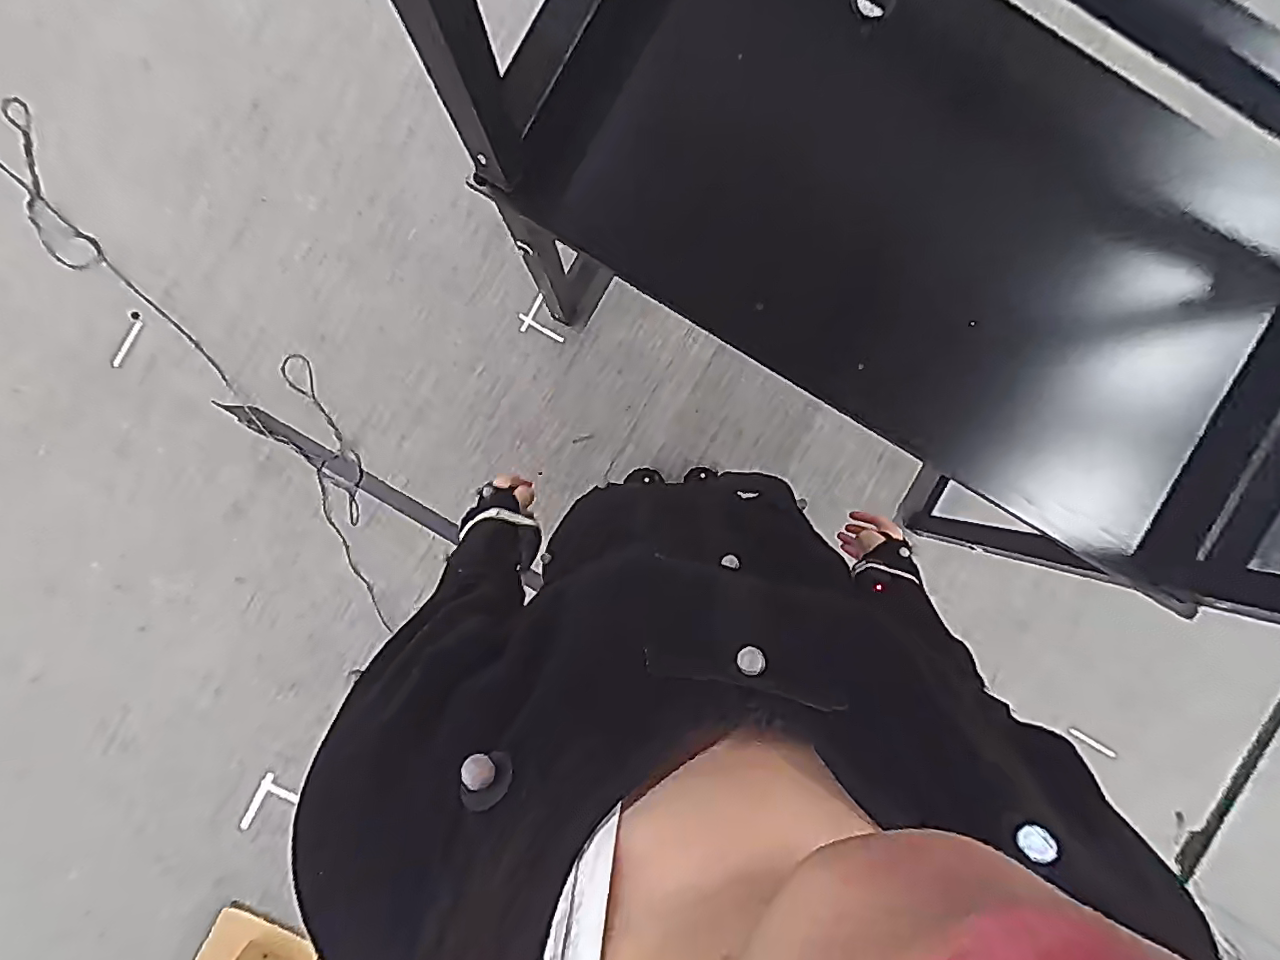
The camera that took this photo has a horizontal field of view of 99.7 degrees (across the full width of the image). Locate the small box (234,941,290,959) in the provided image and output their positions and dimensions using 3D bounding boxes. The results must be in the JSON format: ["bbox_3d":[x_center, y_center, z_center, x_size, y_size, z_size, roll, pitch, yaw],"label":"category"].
[{"bbox_3d":[-1.044,1.381,1.413,0.168,0.176,0.179,30,90,-4],"label":"small box"}]
